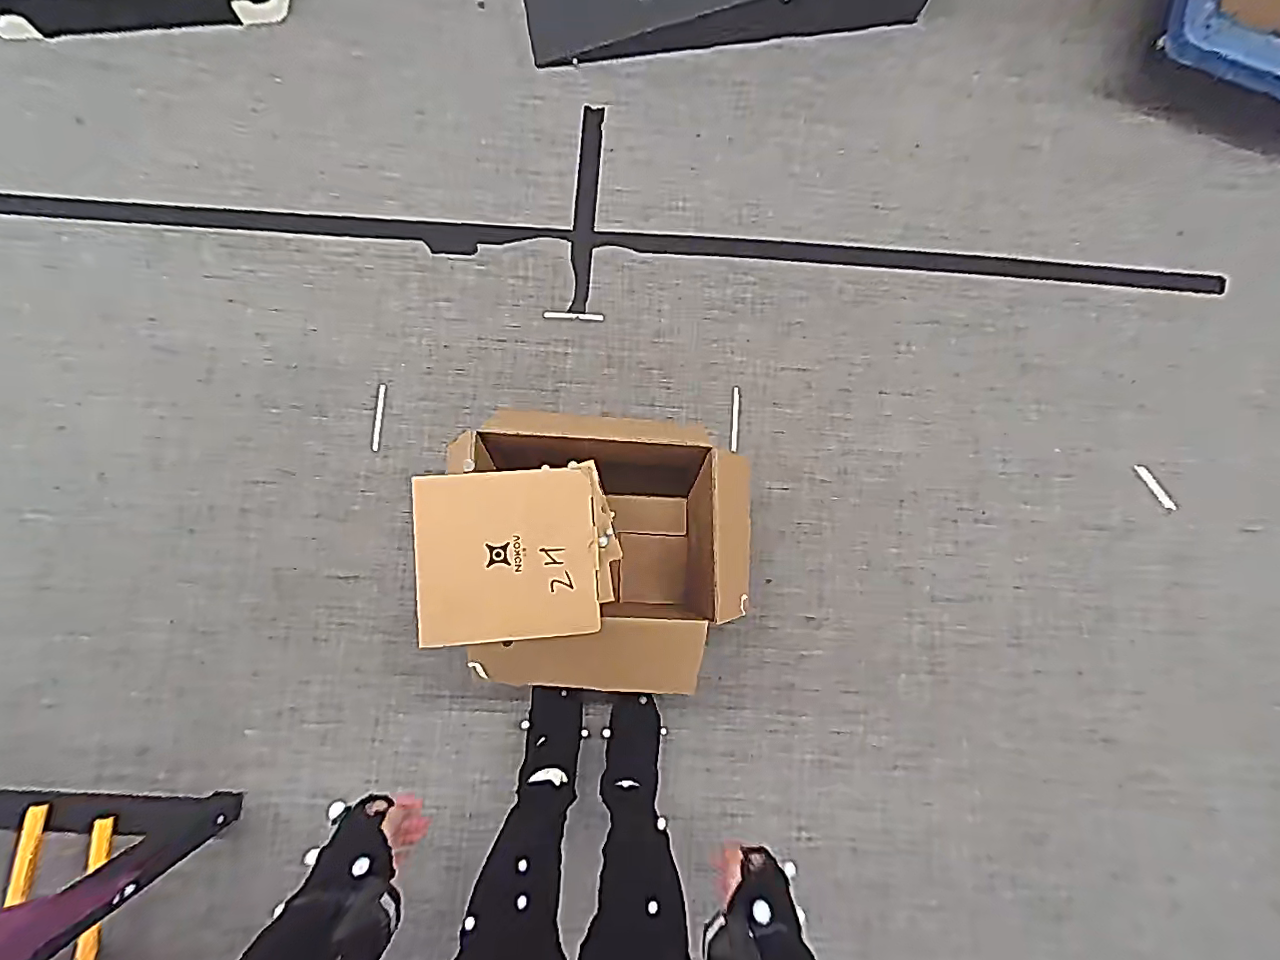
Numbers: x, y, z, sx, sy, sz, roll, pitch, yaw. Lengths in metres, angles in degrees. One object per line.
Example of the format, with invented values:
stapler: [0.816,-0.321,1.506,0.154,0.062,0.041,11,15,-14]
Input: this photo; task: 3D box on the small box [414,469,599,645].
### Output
small box: [-0.136,0.078,0.605,0.179,0.176,0.168,-3,88,-6]

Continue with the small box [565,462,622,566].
small box: [-0.139,0.078,0.936,0.179,0.176,0.168,-17,88,-7]
